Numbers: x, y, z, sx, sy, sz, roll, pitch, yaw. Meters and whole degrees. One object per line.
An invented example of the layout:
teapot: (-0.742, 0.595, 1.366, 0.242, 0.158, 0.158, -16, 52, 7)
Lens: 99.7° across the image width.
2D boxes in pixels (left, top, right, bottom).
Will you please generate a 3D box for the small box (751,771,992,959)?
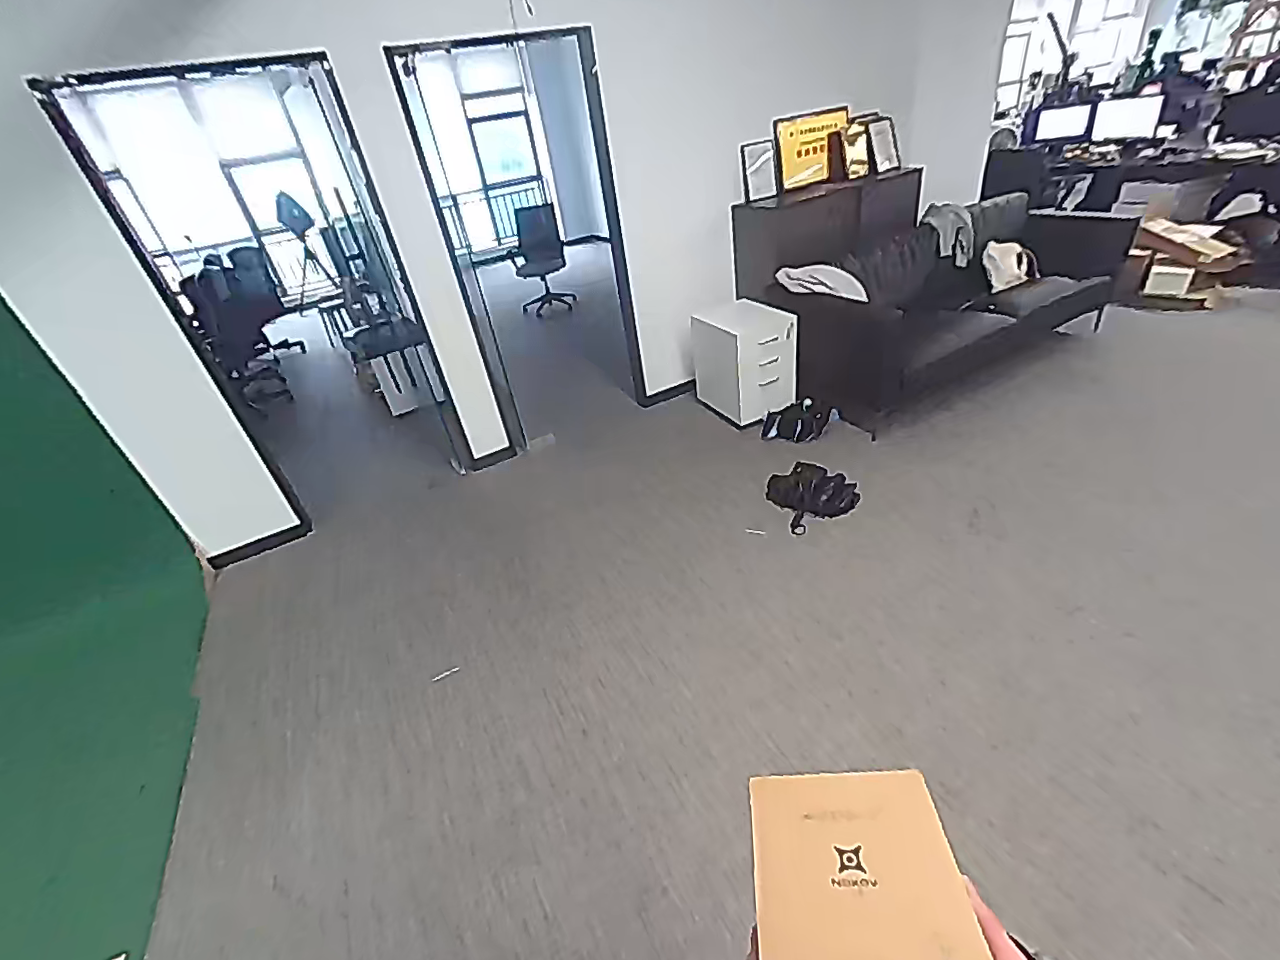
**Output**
small box: (0.196, 0.396, 0.481, 0.168, 0.176, 0.179, -8, 20, 12)
